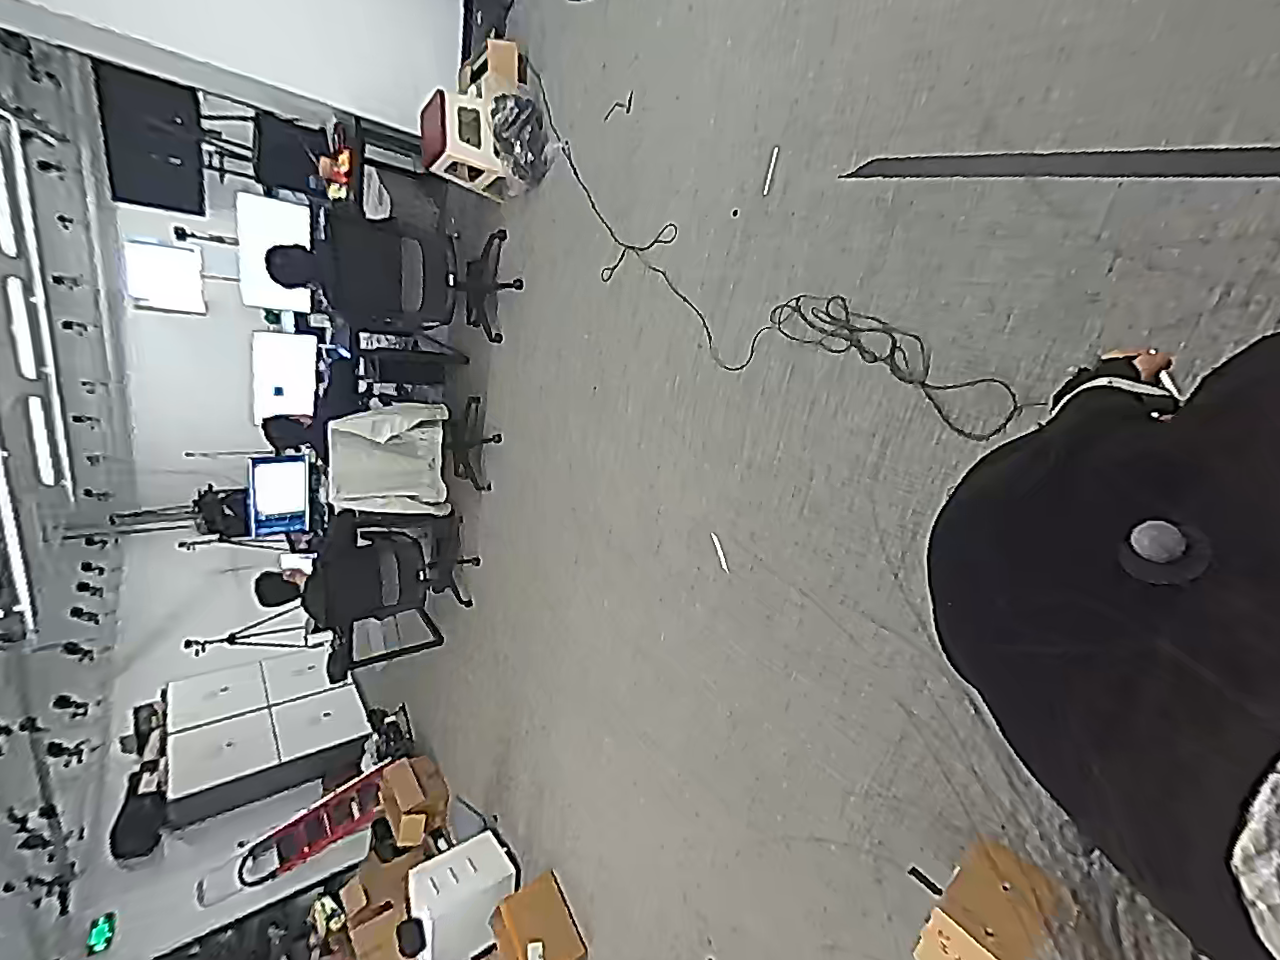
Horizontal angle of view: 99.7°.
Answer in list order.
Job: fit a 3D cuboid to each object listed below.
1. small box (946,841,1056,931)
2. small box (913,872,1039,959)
[{"bbox_3d":[0.878,1.034,1.329,0.179,0.176,0.168,25,112,45],"label":"small box"},{"bbox_3d":[0.758,1.044,1.216,0.179,0.176,0.168,28,114,44],"label":"small box"}]
